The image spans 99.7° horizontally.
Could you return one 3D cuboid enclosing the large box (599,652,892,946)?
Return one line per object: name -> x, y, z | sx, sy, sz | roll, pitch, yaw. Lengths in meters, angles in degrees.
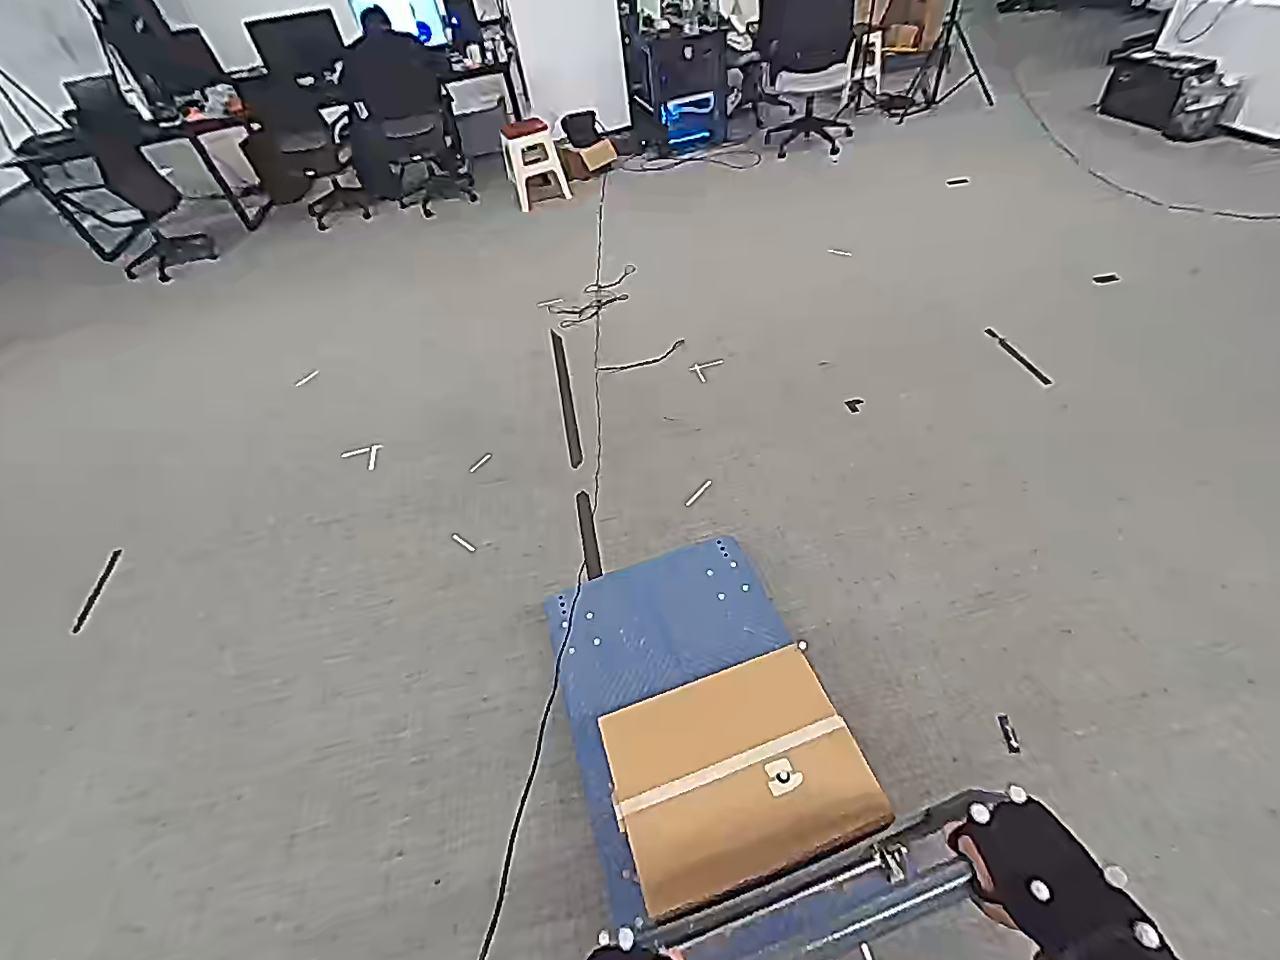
large box -> 0.175, 0.591, 1.008 | 0.408, 0.320, 0.320 | -18, 48, -7
